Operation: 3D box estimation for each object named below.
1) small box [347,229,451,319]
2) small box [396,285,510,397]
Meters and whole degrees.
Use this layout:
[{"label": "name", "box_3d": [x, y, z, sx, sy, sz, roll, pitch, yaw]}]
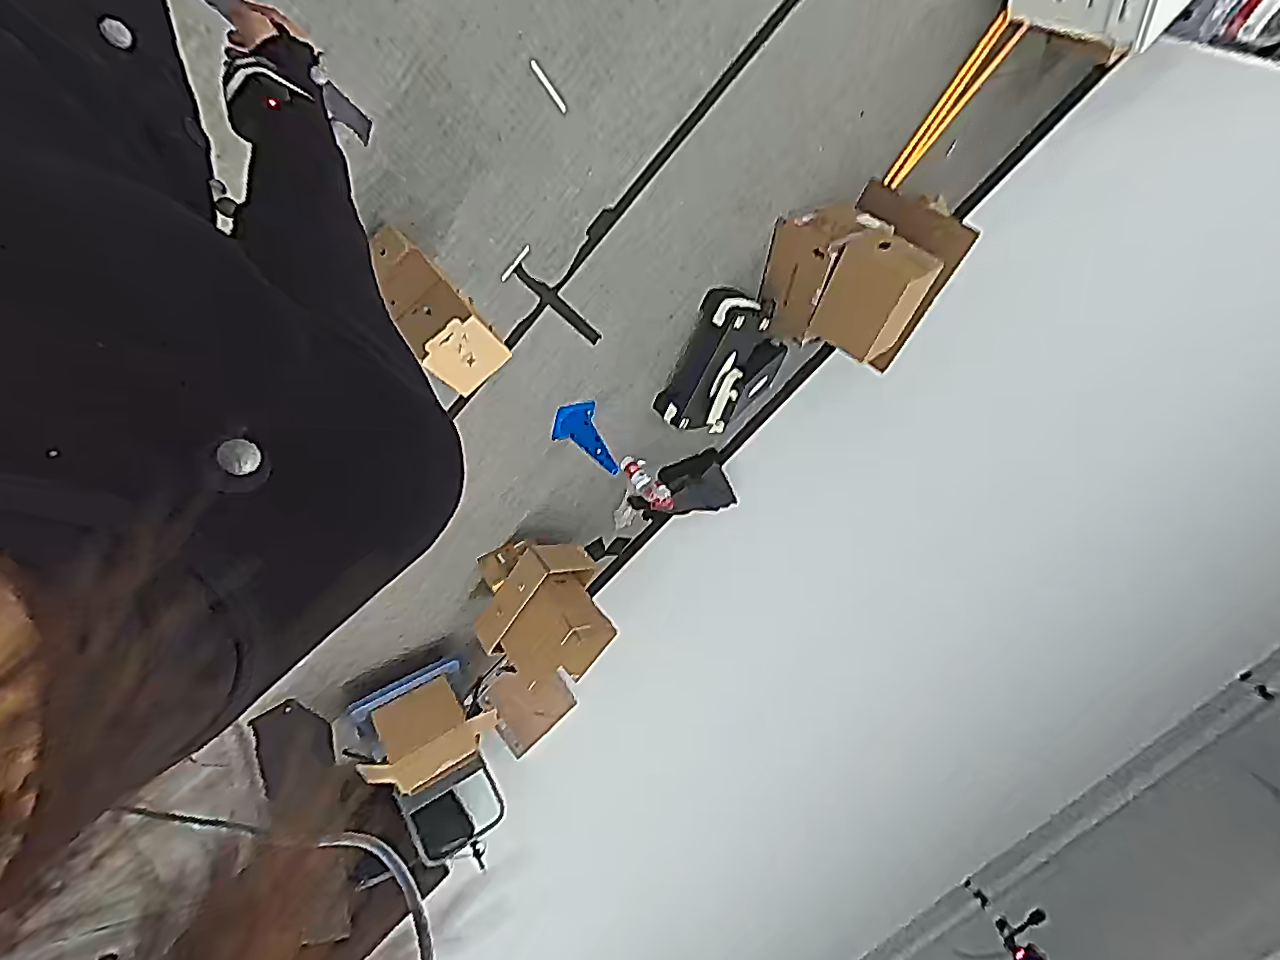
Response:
[{"label": "small box", "box_3d": [-0.668, -0.561, 1.494, 0.168, 0.176, 0.179, -44, 151, 6]}, {"label": "small box", "box_3d": [-0.464, -0.347, 1.345, 0.168, 0.176, 0.179, -41, 151, 1]}]
